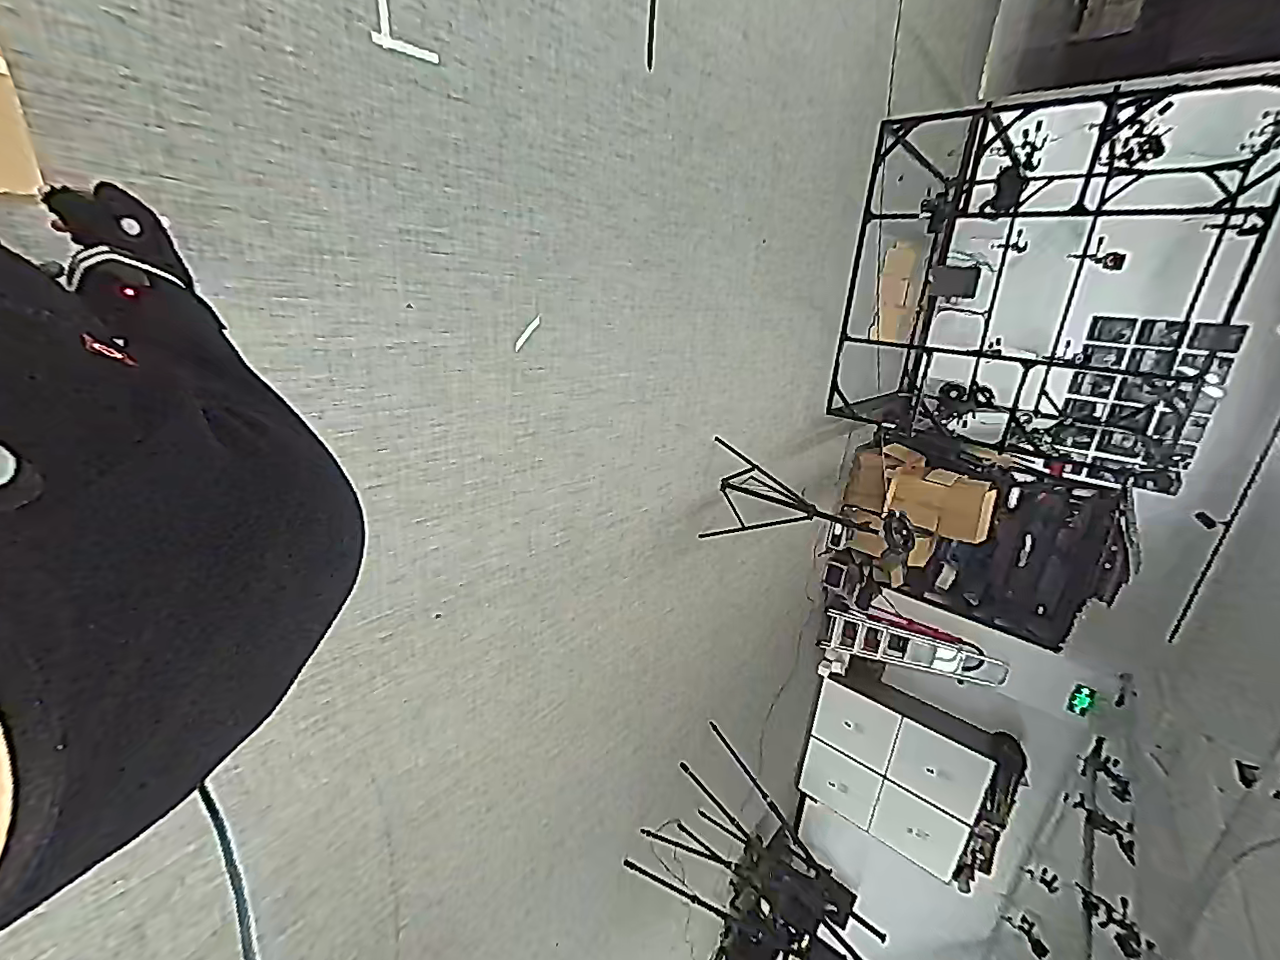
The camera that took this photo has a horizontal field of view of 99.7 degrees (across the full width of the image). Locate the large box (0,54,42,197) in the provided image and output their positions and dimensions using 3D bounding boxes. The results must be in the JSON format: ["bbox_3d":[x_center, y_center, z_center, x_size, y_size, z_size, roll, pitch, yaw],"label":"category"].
[{"bbox_3d":[-1.094,-0.546,0.662,0.408,0.320,0.320,-23,123,-48],"label":"large box"}]
